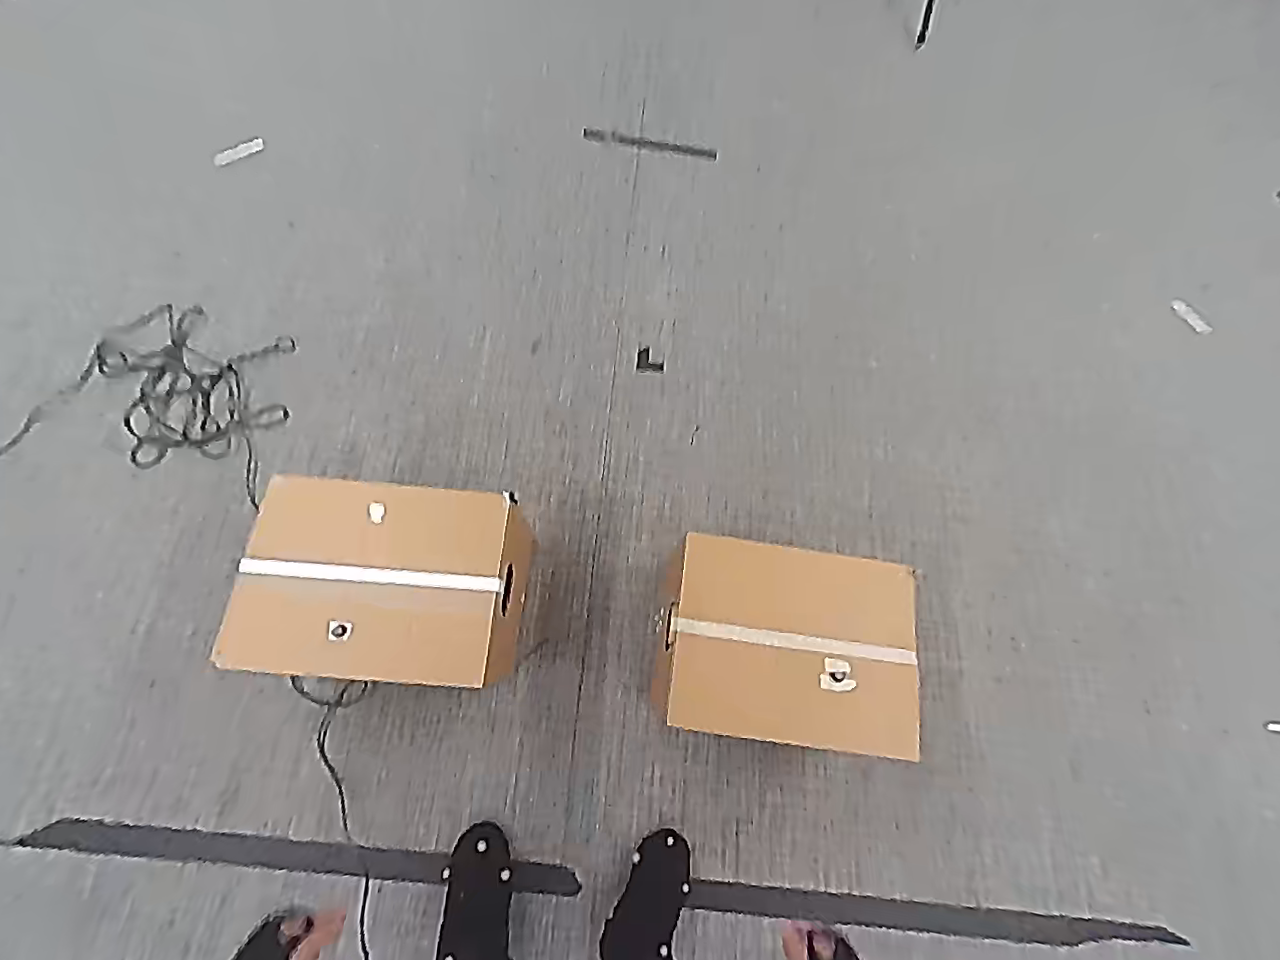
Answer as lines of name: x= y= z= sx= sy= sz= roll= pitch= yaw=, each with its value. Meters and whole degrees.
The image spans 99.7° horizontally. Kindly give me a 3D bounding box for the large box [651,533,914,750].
large box: x=0.248 y=0.311 z=1.045 sx=0.408 sy=0.320 sz=0.320 roll=9 pitch=71 yaw=-2
